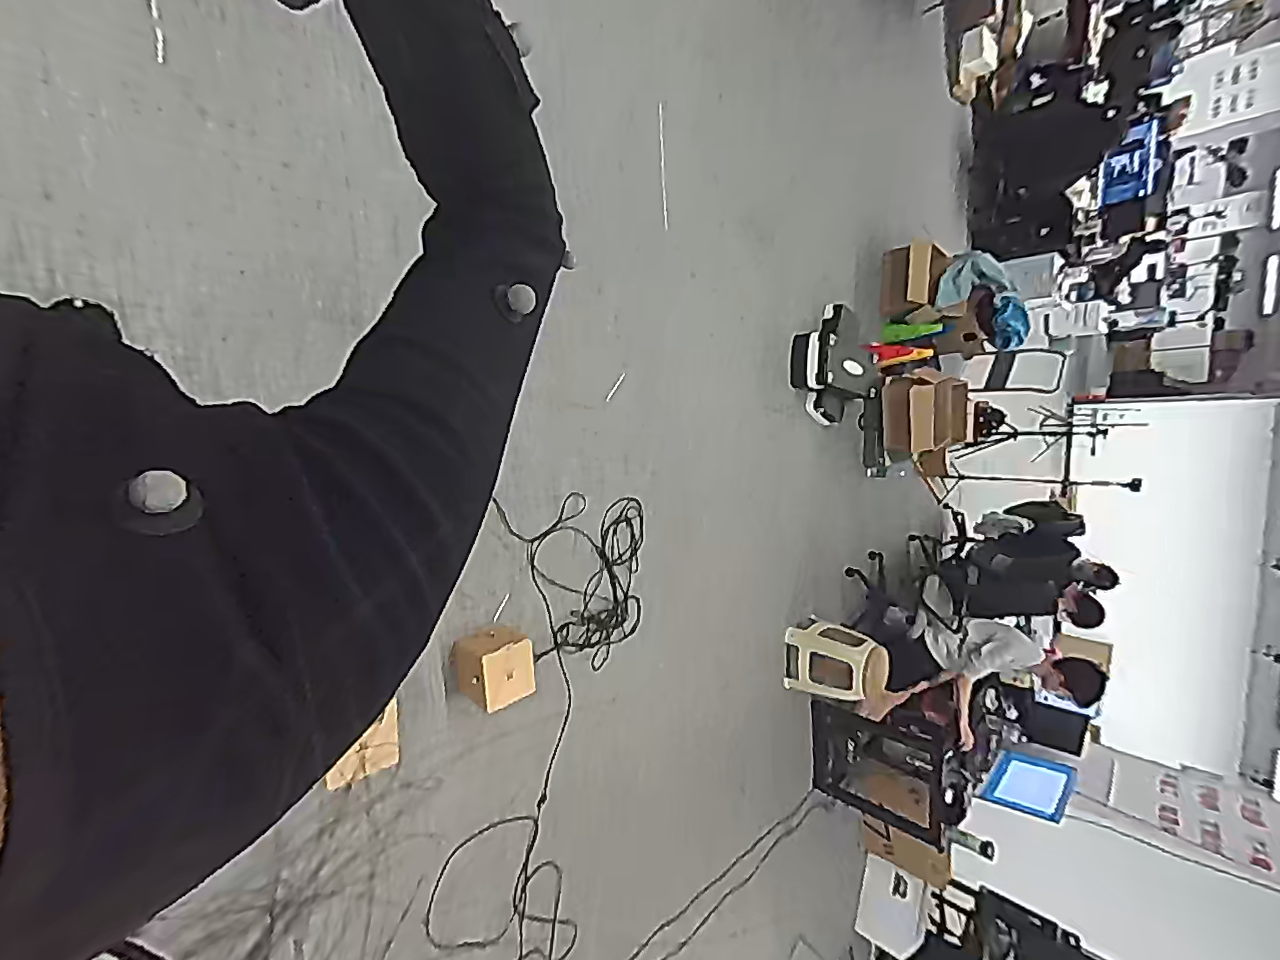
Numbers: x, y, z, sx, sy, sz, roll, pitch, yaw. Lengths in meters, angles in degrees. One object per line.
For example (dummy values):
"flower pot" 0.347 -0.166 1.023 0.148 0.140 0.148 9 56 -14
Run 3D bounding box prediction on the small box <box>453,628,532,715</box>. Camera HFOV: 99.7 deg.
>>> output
"small box" -0.446 0.568 1.629 0.168 0.176 0.179 -11 100 -45

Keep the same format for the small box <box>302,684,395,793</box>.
"small box" -0.727 0.627 1.346 0.168 0.176 0.179 -4 96 -46
